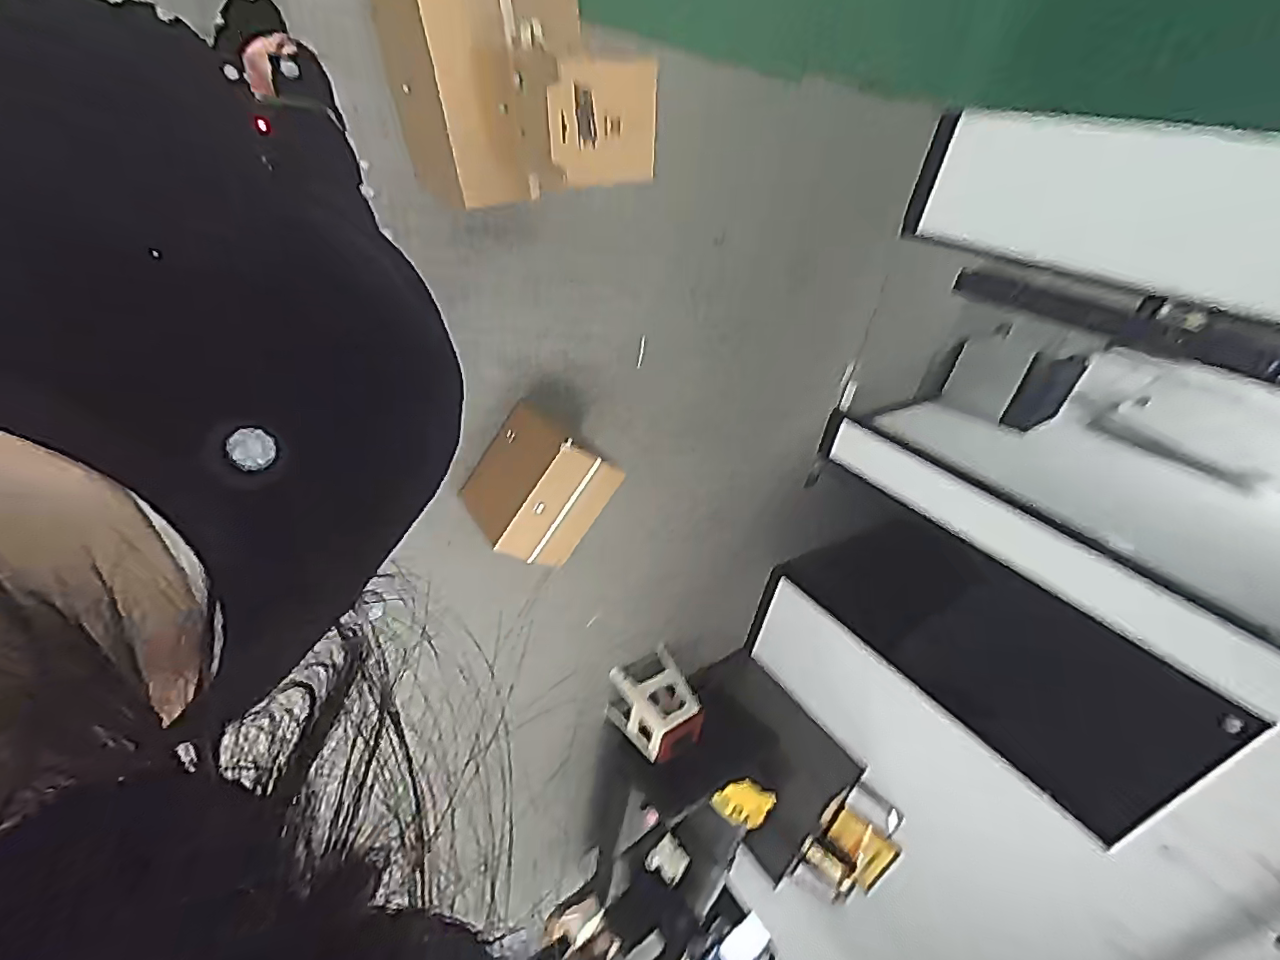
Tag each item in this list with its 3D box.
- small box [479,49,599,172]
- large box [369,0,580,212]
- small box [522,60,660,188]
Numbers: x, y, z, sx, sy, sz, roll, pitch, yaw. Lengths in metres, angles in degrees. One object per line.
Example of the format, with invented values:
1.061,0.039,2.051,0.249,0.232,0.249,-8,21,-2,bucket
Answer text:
-0.184,-0.688,1.005,0.168,0.176,0.179,-23,134,-26,small box
-0.327,-0.835,1.143,0.320,0.320,0.408,-27,135,-25,large box
-0.087,-0.598,0.908,0.179,0.176,0.168,-21,133,-27,small box
